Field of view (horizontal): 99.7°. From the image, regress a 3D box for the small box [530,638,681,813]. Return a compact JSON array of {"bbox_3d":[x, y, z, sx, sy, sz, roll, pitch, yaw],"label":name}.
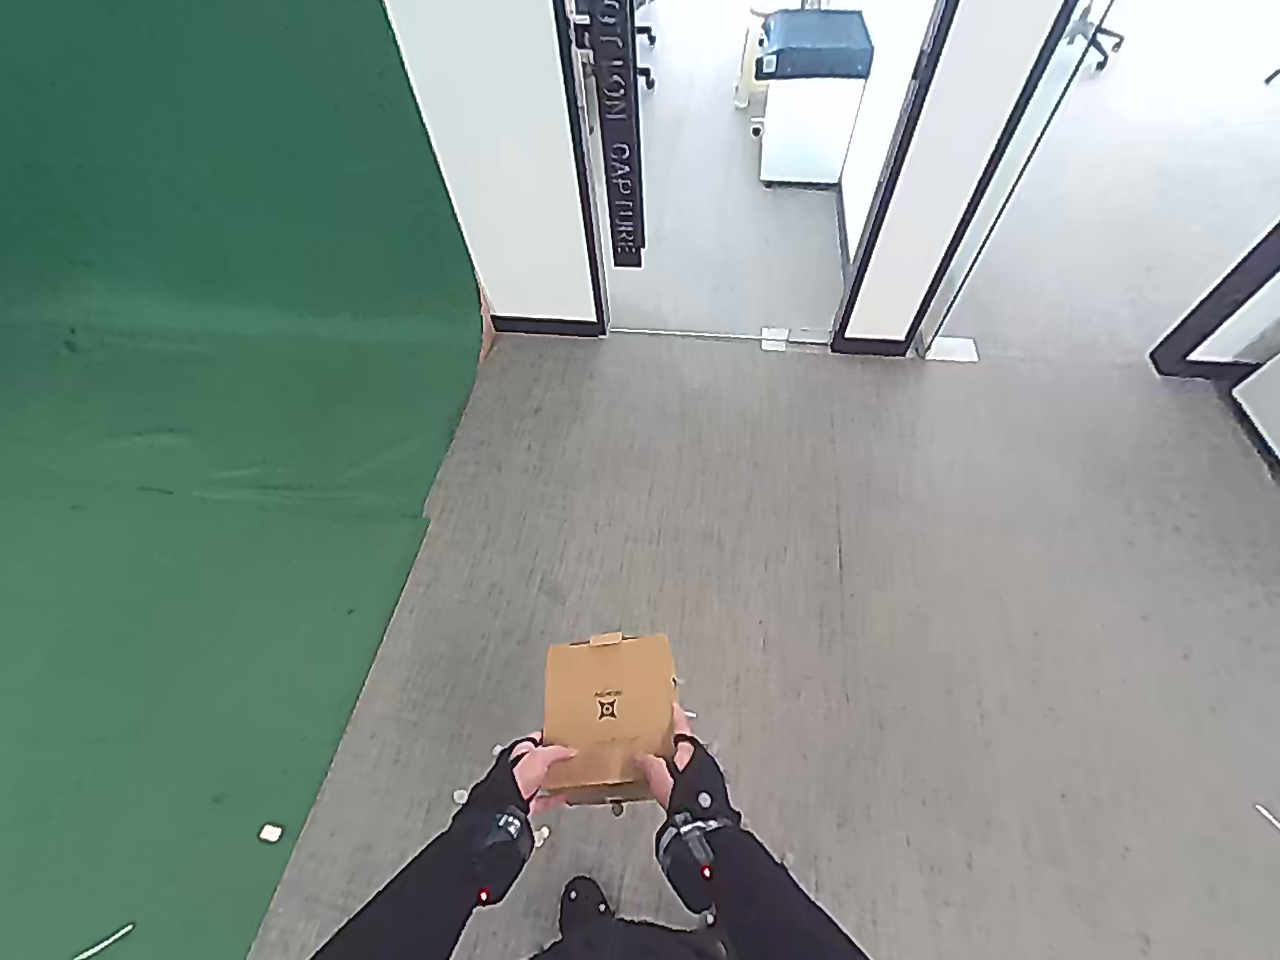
[{"bbox_3d":[-0.037,0.333,0.729,0.168,0.176,0.179,-7,51,6],"label":"small box"}]
